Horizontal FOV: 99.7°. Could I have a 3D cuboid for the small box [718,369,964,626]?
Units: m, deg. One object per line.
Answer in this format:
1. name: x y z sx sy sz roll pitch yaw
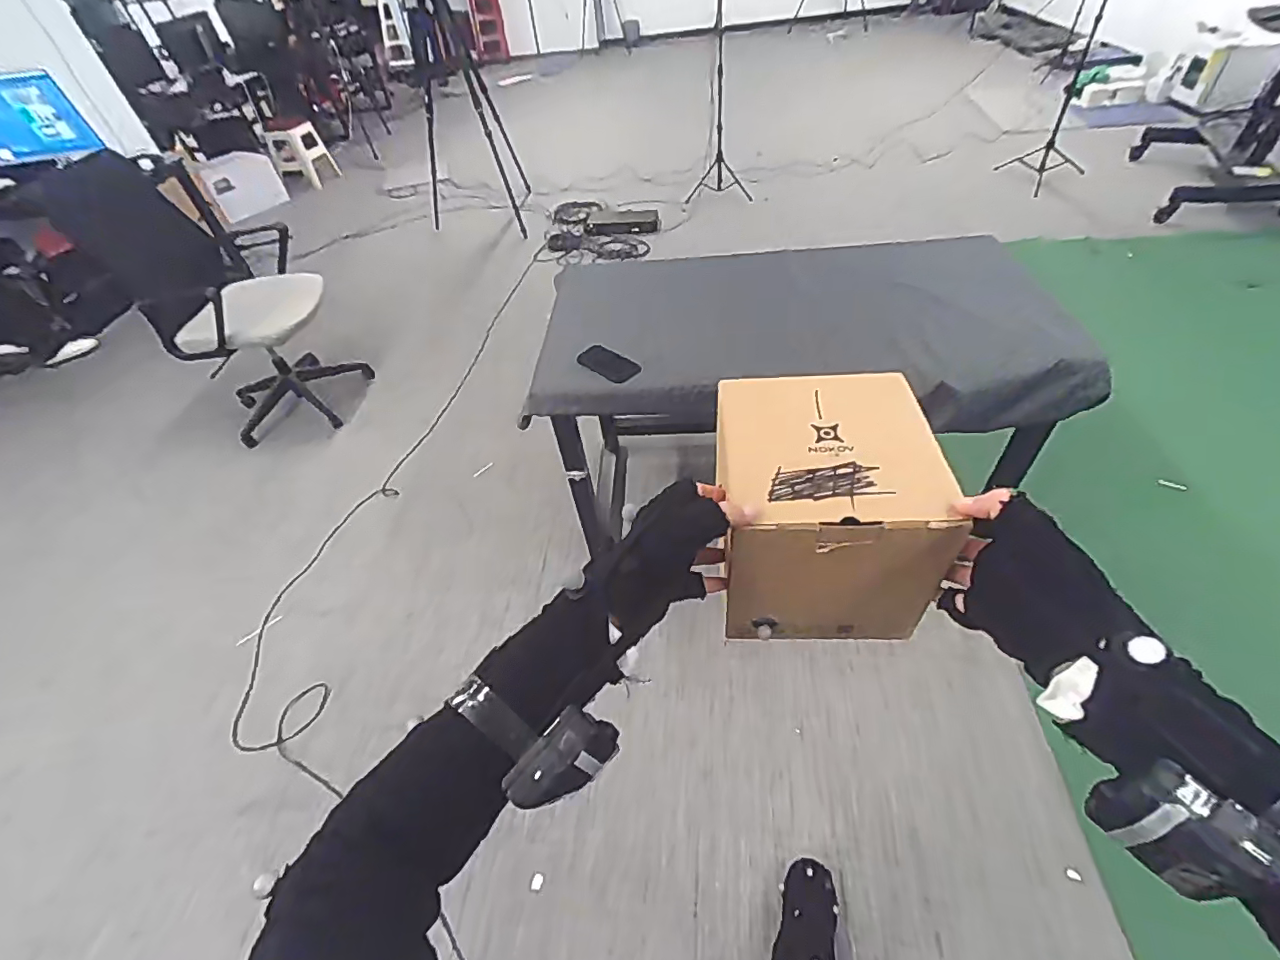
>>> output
1. small box: 0.158 0.020 0.498 0.168 0.176 0.179 -1 46 5
